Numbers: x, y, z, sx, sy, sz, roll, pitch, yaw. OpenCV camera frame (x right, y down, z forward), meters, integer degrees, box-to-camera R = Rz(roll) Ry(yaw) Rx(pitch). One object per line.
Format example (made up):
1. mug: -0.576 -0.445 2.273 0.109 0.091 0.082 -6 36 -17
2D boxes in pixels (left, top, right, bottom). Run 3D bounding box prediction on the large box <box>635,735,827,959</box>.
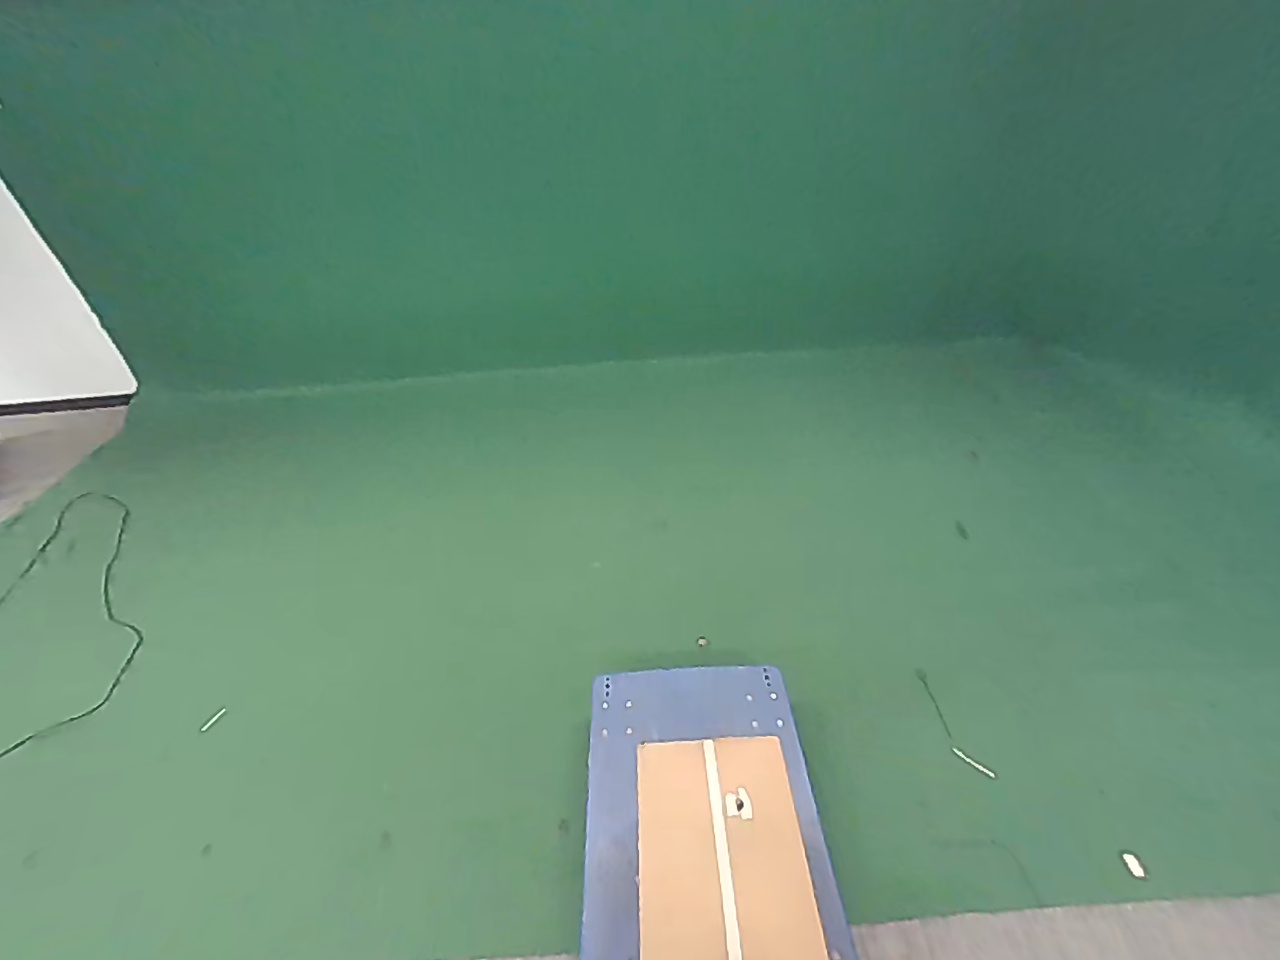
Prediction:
1. large box: 0.161 0.814 1.129 0.320 0.320 0.408 -4 38 1
